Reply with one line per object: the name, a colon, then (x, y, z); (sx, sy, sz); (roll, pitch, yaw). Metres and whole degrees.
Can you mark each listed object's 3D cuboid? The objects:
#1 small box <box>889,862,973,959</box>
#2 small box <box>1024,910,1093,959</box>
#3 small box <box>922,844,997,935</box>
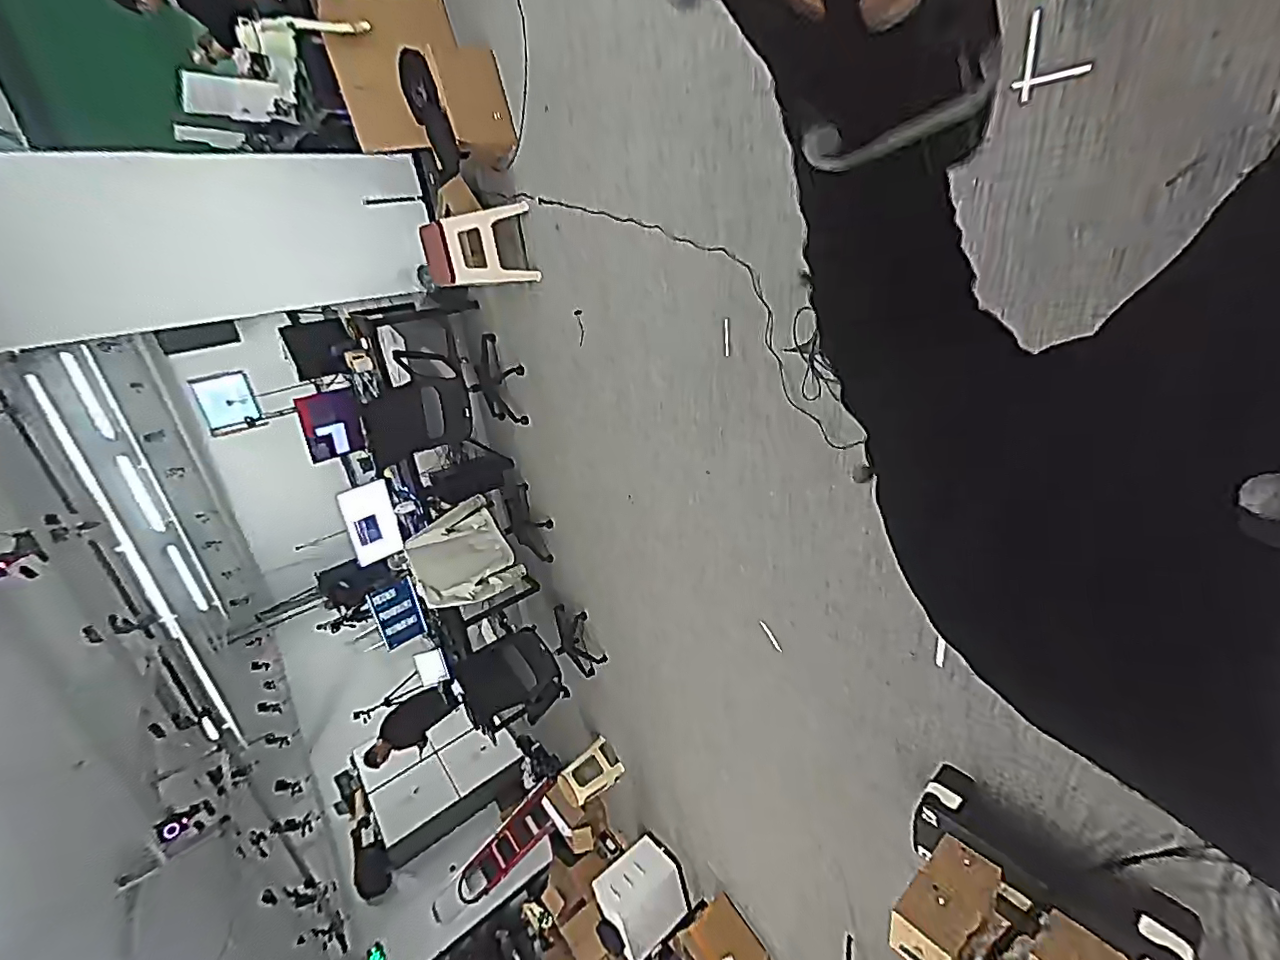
small box: (0.867, 1.304, 1.612); (0.168, 0.176, 0.179); (19, 125, 48)
small box: (1.181, 1.316, 1.476); (0.179, 0.176, 0.168); (19, 125, 49)
small box: (0.999, 1.247, 1.692); (0.168, 0.176, 0.179); (20, 125, 48)
